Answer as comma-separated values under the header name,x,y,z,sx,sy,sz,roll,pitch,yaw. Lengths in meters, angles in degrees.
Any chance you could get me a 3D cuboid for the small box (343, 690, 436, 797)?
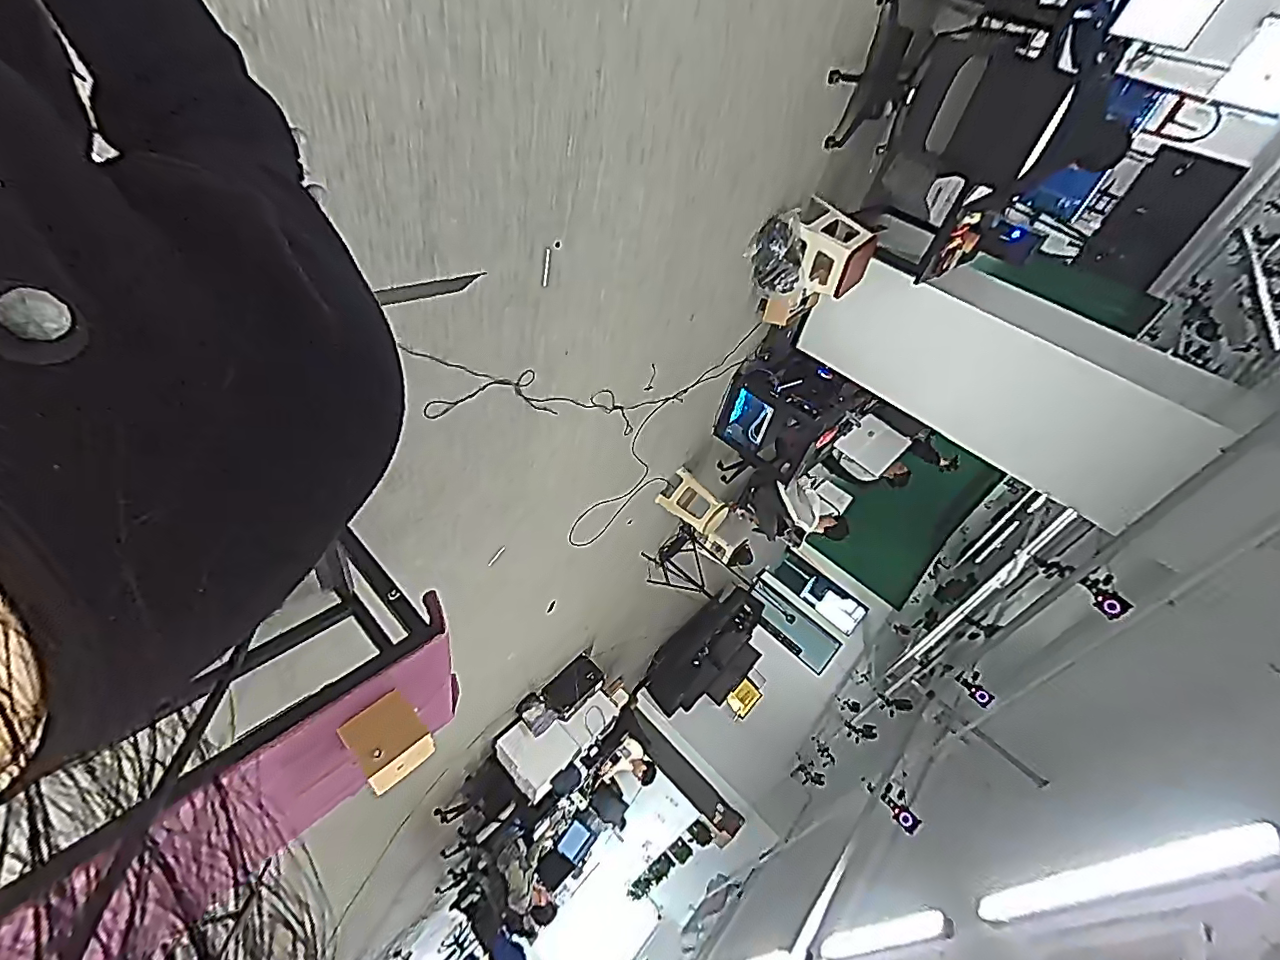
name,x,y,z,sx,sy,sz,roll,pitch,yaw
small box,-0.694,0.726,1.496,0.179,0.176,0.168,-33,152,-37
